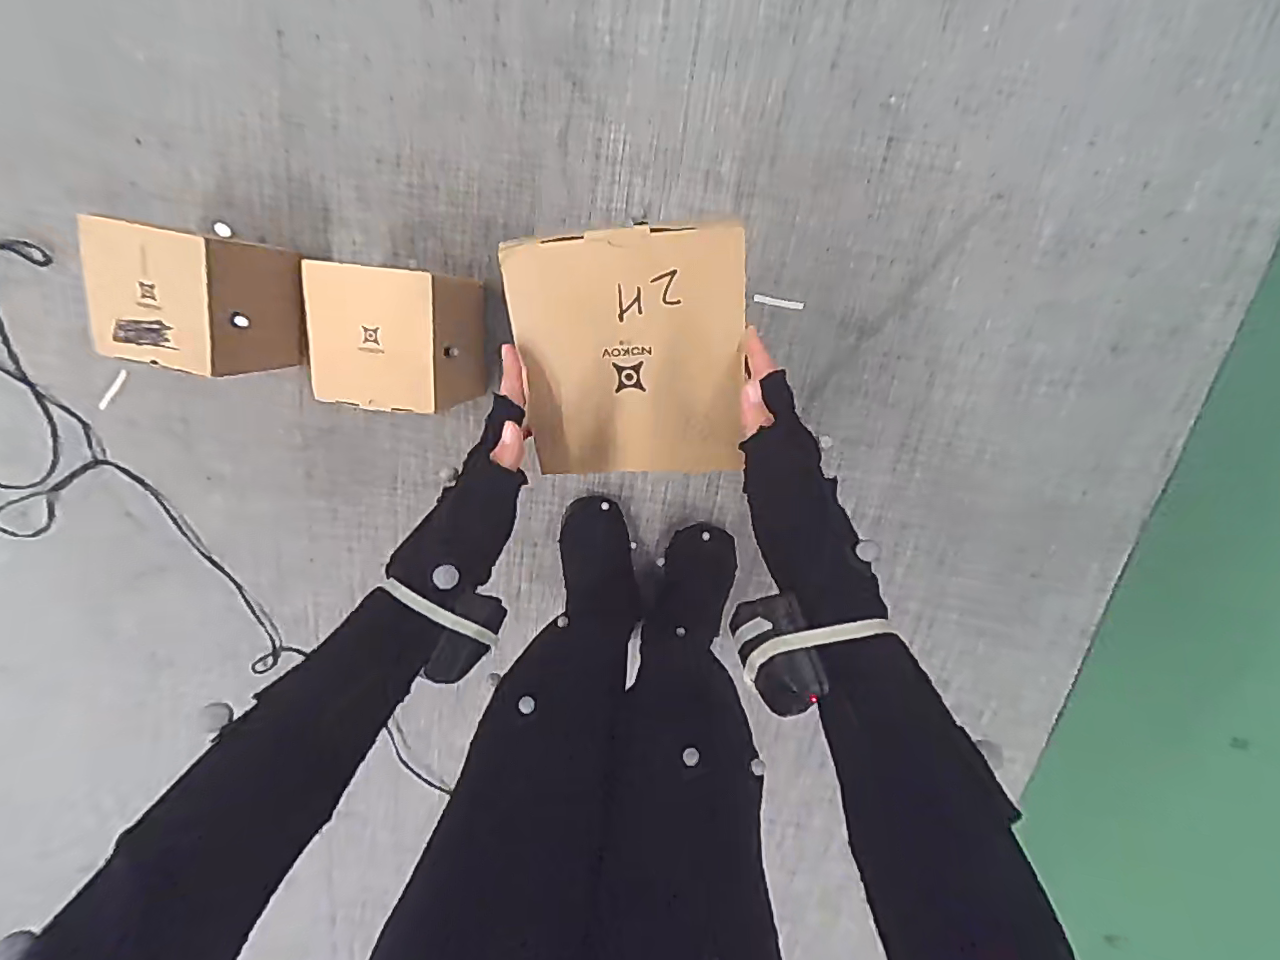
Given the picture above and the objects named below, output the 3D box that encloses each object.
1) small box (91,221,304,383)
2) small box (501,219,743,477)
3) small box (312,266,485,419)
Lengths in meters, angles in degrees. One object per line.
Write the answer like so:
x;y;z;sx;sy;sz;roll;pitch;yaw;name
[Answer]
-0.614;-0.249;0.774;0.168;0.176;0.179;12;107;2;small box
0.002;-0.117;0.464;0.168;0.176;0.179;-2;117;8;small box
-0.328;-0.196;0.765;0.168;0.176;0.179;7;108;3;small box
